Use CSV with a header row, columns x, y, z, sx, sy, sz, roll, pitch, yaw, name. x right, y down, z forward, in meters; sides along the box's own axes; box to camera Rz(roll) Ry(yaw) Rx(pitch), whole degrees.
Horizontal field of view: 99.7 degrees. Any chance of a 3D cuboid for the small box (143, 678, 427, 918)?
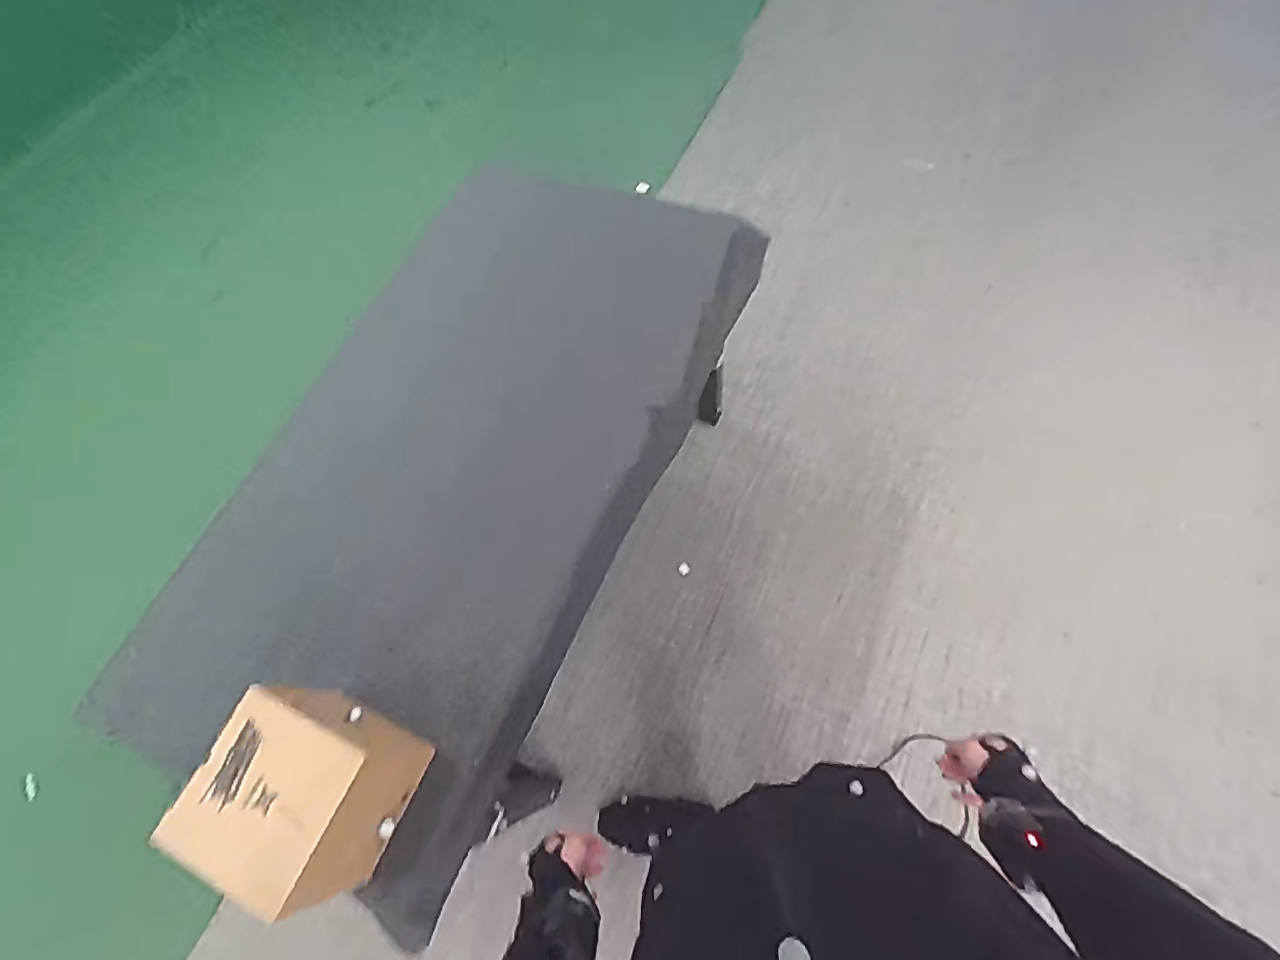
x,y,z,sx,sy,sz,roll,pitch,yaw,name
-0.392,0.353,0.630,0.179,0.176,0.168,21,70,15,small box
